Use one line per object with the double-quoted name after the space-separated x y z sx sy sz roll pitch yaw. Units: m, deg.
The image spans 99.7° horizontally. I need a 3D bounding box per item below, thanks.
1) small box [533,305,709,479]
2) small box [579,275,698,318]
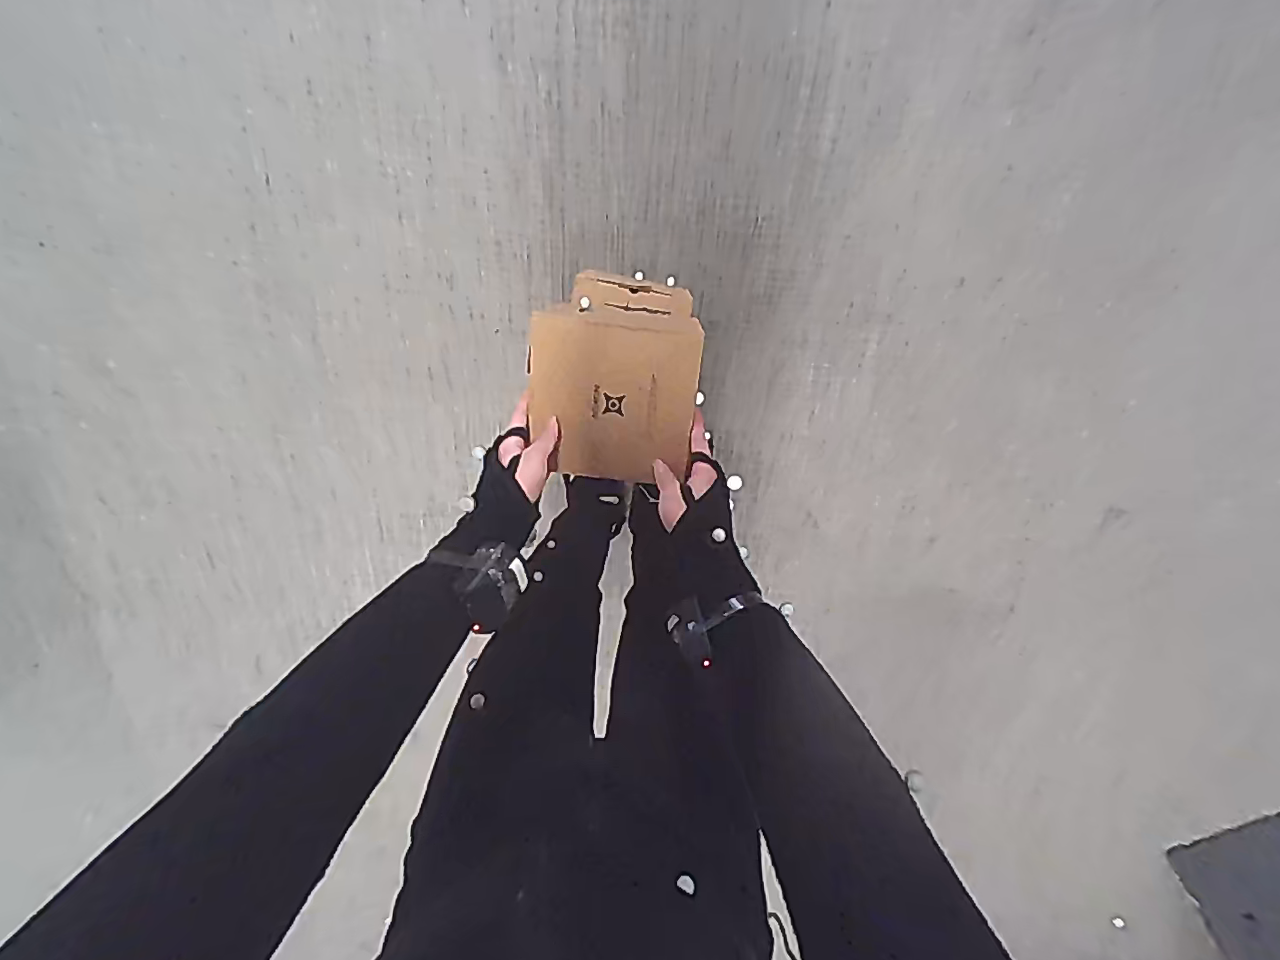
-0.020 -0.113 0.640 0.179 0.176 0.168 5 111 0 "small box"
-0.013 -0.214 0.844 0.168 0.176 0.179 11 113 -2 "small box"
